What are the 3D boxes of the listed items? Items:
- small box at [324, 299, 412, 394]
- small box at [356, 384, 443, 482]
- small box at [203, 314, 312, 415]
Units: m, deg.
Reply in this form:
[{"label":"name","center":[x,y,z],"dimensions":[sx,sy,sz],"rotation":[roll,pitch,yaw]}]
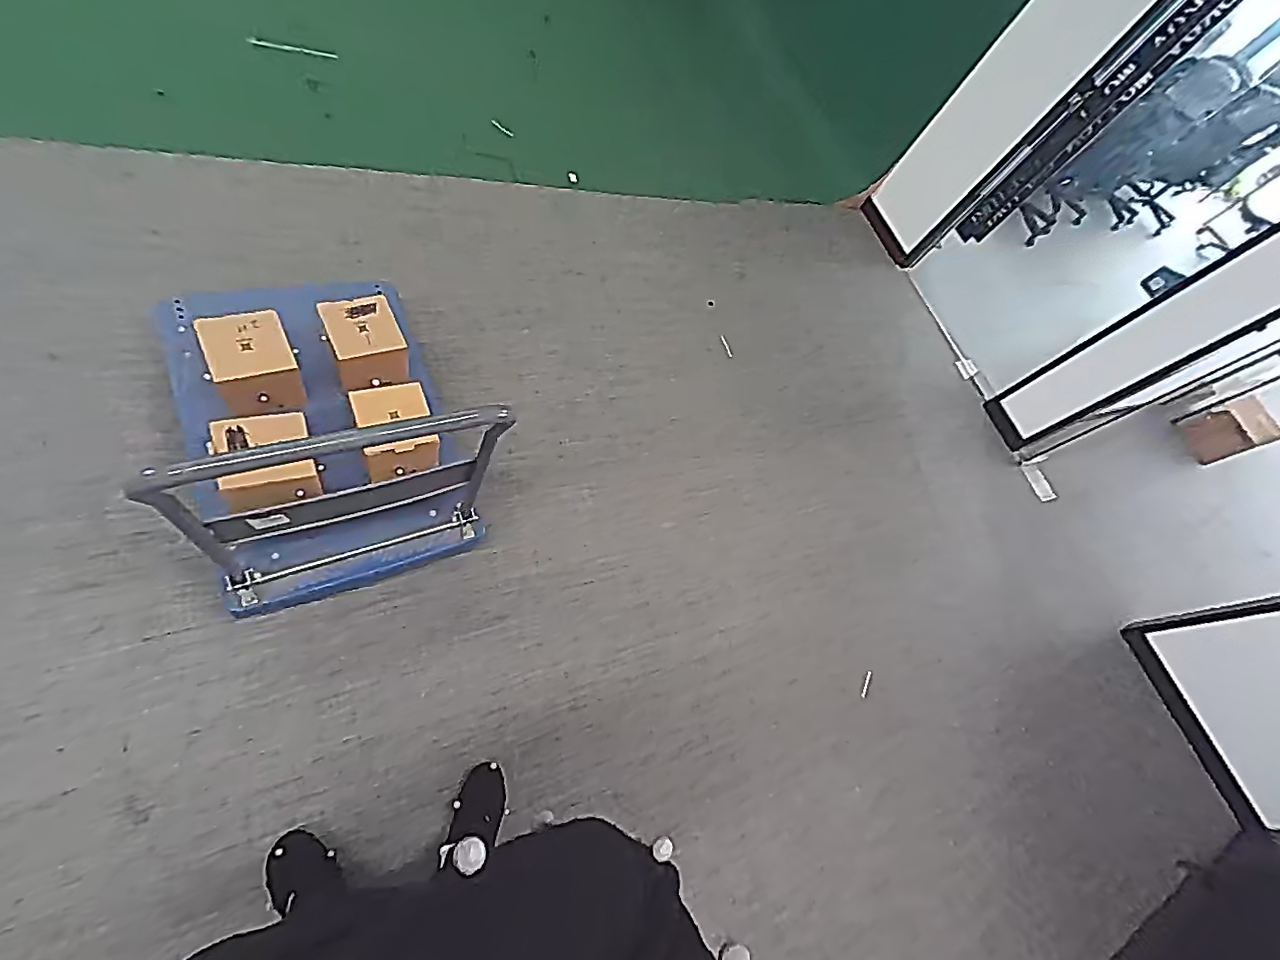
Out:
[{"label":"small box","center":[-0.728,-0.356,1.457],"dimensions":[0.168,0.176,0.179],"rotation":[-21,76,-29]},{"label":"small box","center":[-0.617,-0.119,1.389],"dimensions":[0.168,0.176,0.179],"rotation":[-16,73,-28]},{"label":"small box","center":[-0.932,-0.277,1.333],"dimensions":[0.168,0.176,0.179],"rotation":[-20,75,-30]}]
